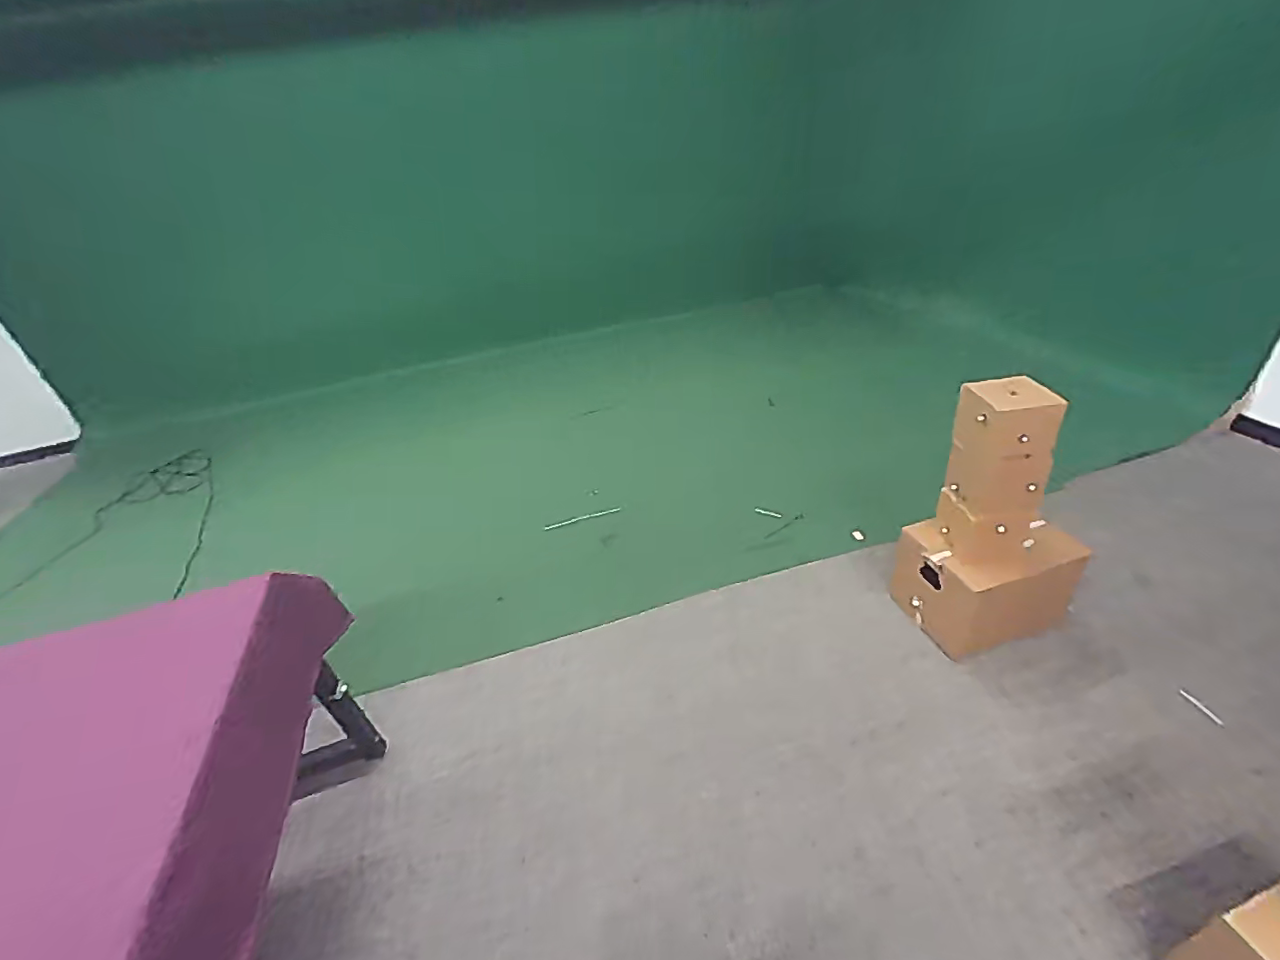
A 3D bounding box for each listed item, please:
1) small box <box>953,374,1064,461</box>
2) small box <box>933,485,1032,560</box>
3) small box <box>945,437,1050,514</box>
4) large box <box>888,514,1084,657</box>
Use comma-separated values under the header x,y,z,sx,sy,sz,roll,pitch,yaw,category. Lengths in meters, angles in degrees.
x,y,z,sx,sy,sz,roll,pitch,yaw,category
0.964,-0.160,1.433,0.168,0.176,0.179,-7,34,3,small box
1.004,0.116,1.604,0.179,0.176,0.168,-9,34,0,small box
0.991,-0.022,1.518,0.179,0.176,0.168,-8,33,3,small box
1.085,0.304,1.743,0.408,0.320,0.320,-14,35,-10,large box
